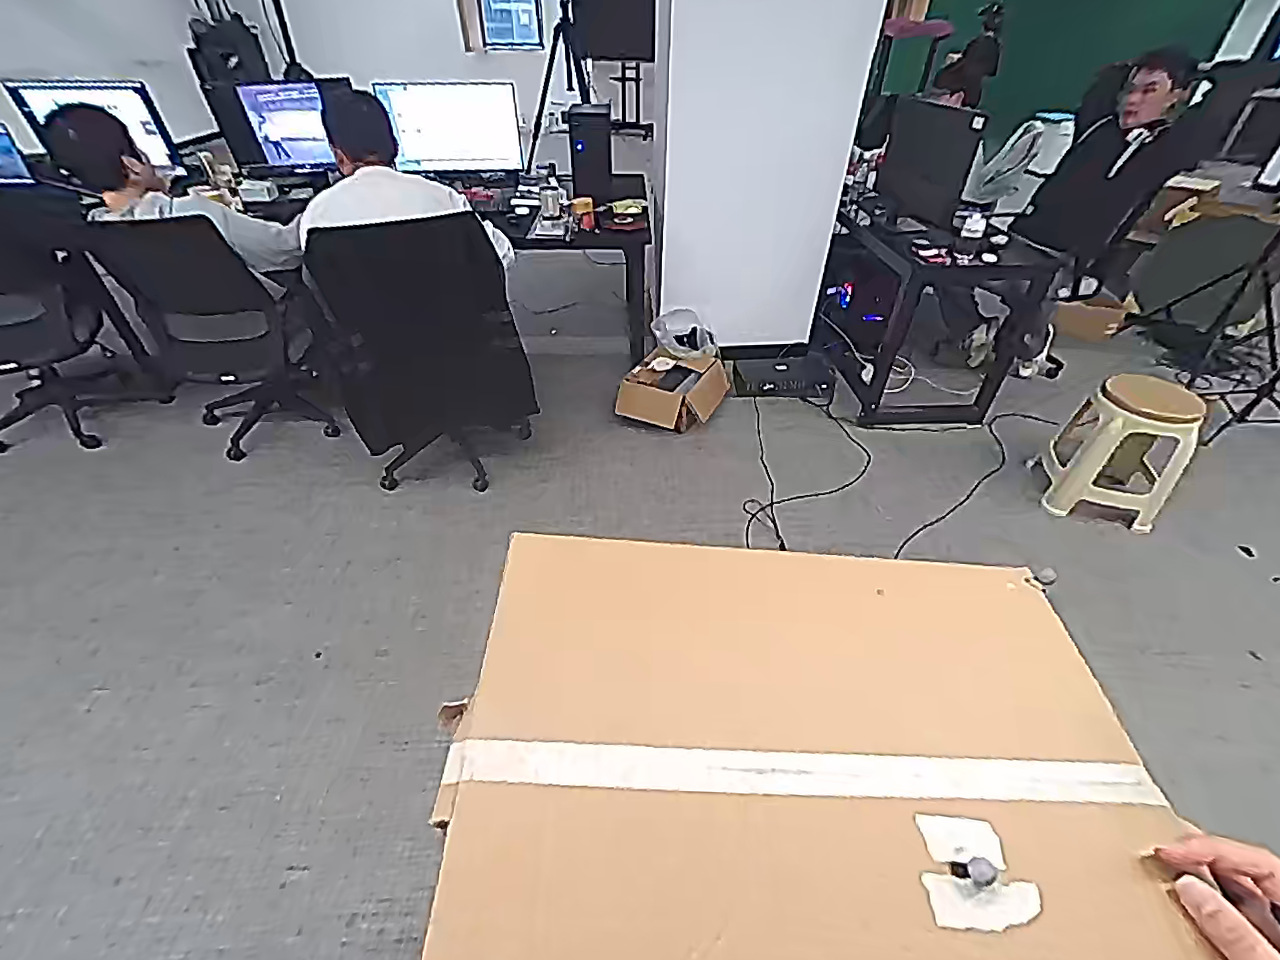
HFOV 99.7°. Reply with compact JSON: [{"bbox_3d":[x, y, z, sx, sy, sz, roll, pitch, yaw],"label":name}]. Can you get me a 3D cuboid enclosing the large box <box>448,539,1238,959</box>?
[{"bbox_3d":[0.090,0.271,0.428,0.408,0.320,0.320,5,47,-5],"label":"large box"}]
